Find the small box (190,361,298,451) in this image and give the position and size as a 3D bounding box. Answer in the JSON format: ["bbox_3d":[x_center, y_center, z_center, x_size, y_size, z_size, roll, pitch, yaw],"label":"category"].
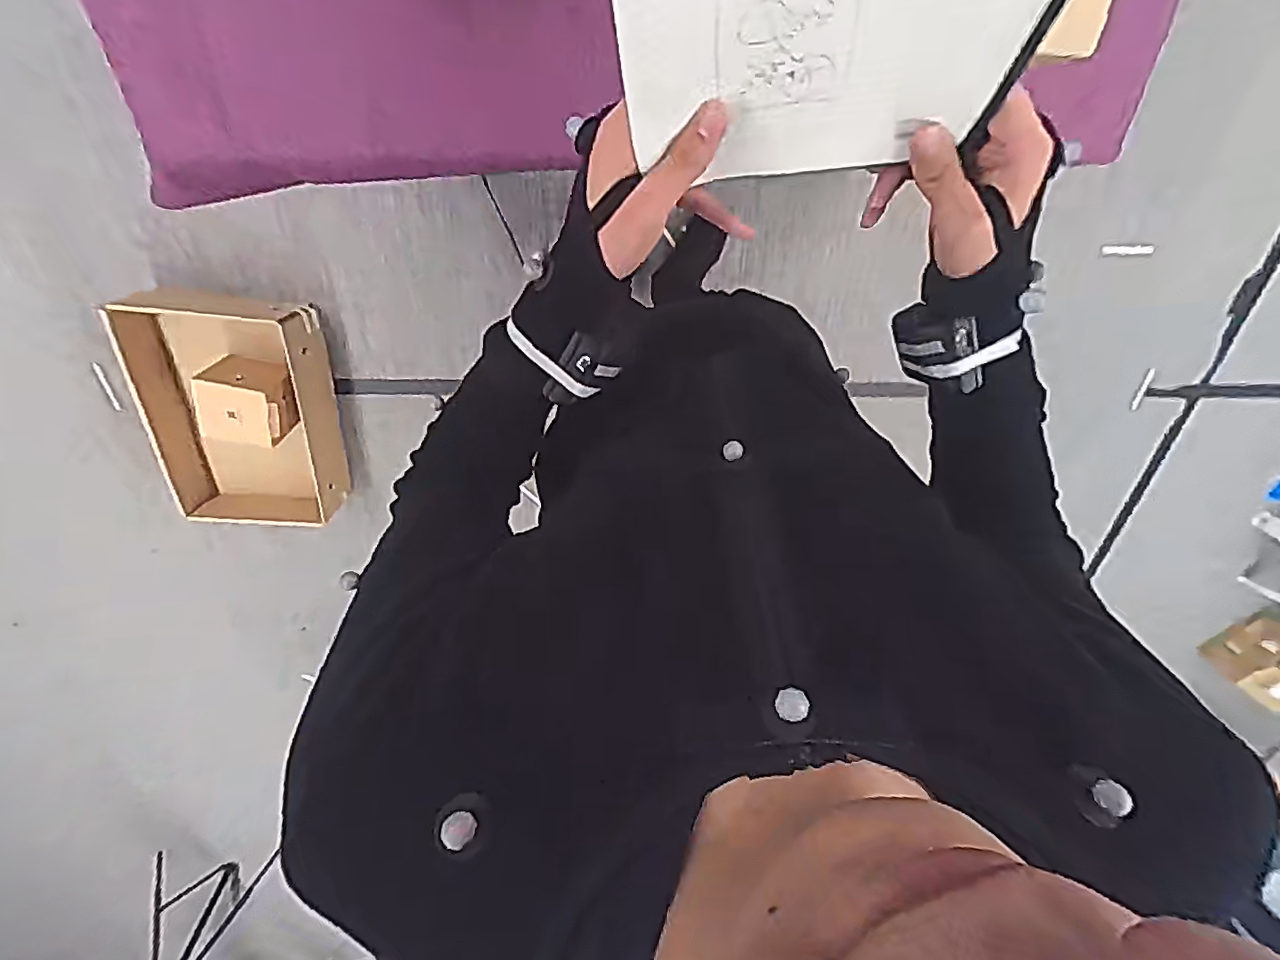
[{"bbox_3d":[-1.034,-0.200,1.432,0.179,0.176,0.168,11,121,-11],"label":"small box"}]
